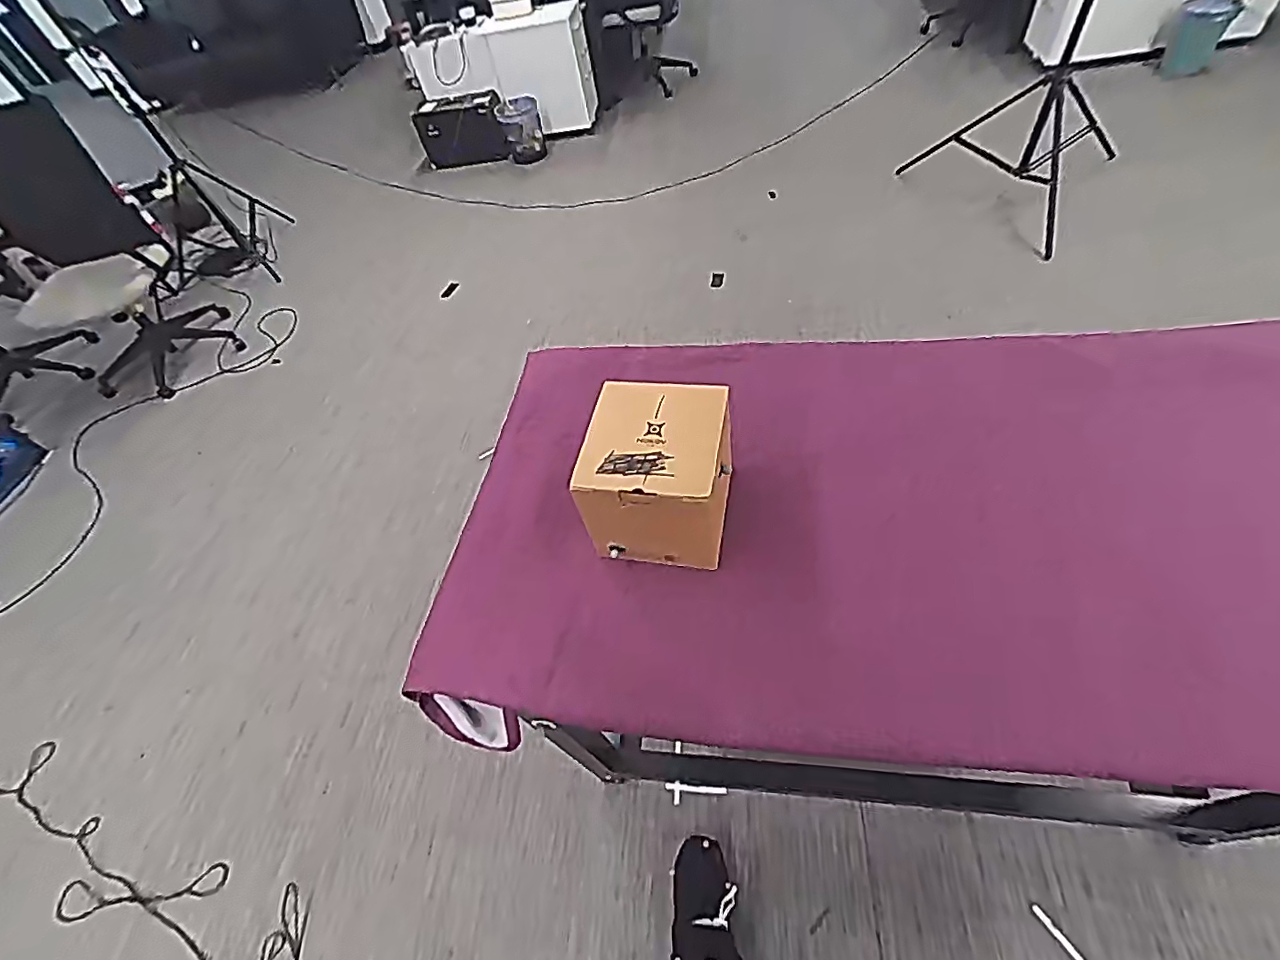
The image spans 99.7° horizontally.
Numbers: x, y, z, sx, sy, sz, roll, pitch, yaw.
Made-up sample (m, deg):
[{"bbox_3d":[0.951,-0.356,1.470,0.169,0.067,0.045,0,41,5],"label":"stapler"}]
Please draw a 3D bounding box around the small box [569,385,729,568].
[{"bbox_3d":[0.026,-0.002,0.712,0.168,0.176,0.179,5,54,14],"label":"small box"}]
